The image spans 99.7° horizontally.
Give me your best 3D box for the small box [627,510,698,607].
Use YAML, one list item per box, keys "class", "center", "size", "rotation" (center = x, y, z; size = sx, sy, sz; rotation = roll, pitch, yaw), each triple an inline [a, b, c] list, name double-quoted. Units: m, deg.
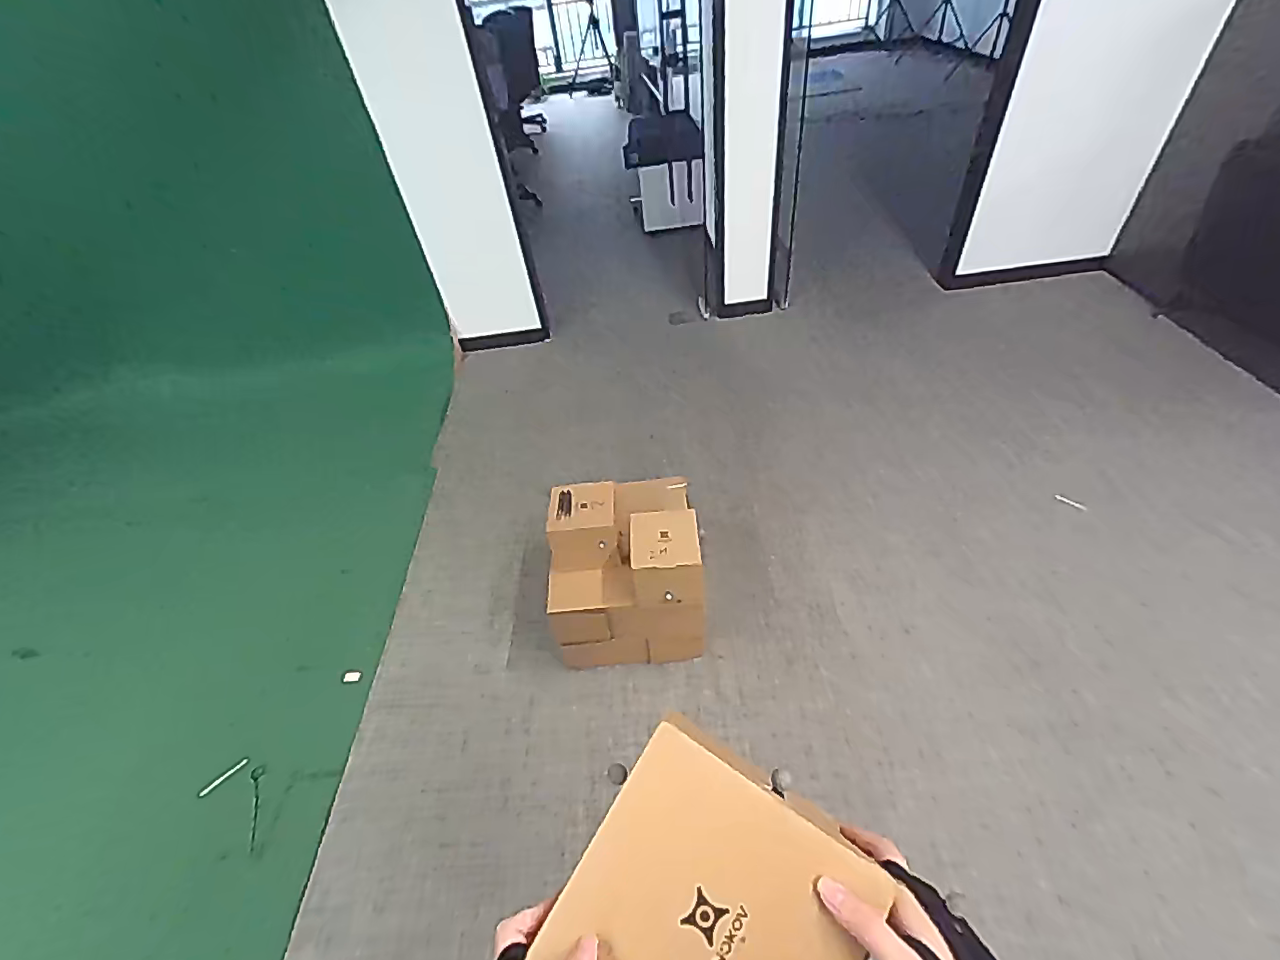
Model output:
- class: "small box"
  center: [0.056, 0.199, 1.362]
  size: [0.168, 0.176, 0.179]
  rotation: [-5, 44, 3]
